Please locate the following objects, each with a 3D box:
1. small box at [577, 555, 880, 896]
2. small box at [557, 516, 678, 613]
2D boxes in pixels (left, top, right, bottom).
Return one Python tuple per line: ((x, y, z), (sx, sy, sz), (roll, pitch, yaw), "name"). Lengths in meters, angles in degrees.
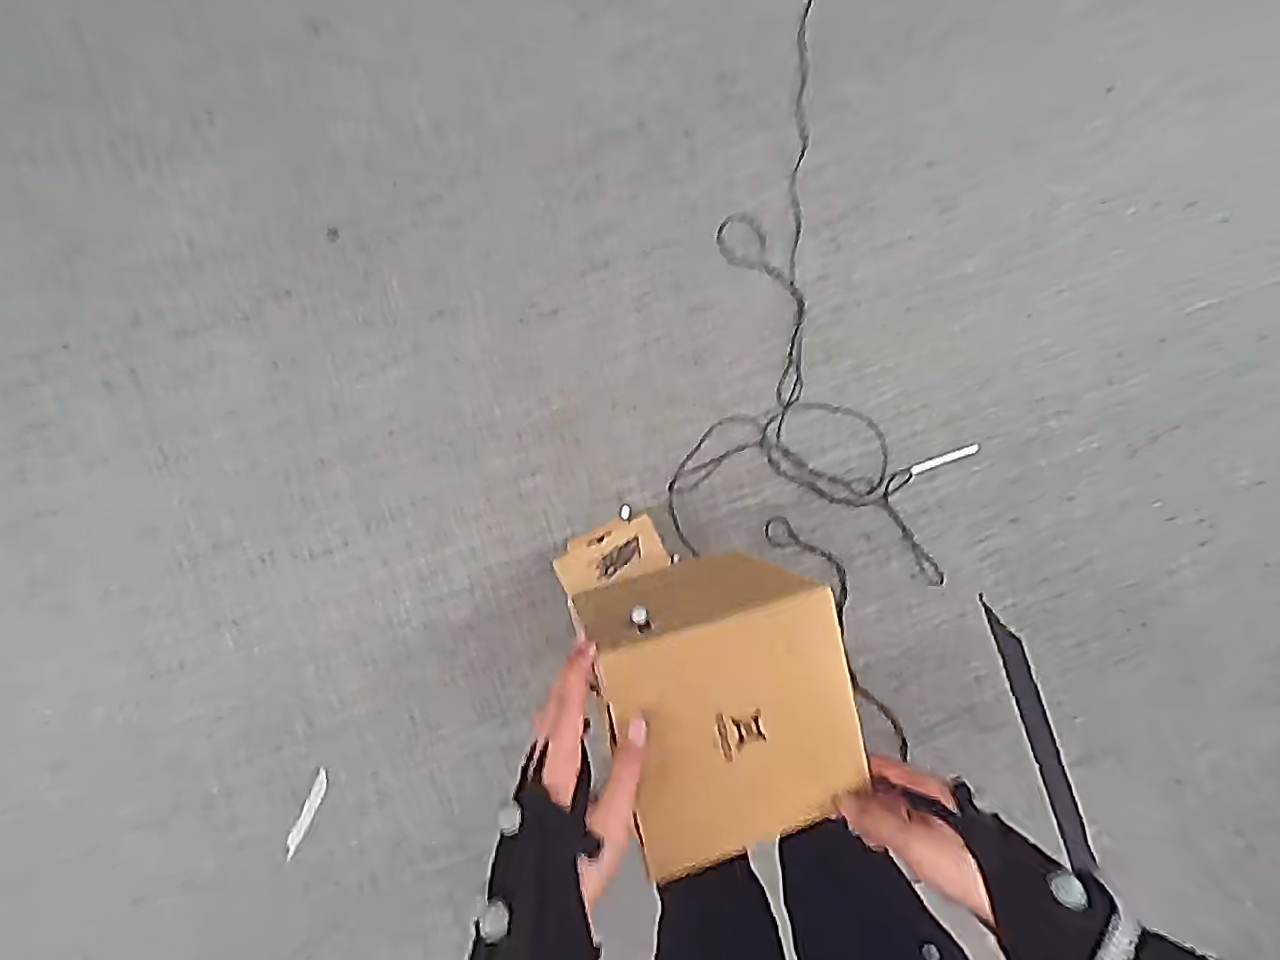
((0.057, 0.171, 0.442), (0.179, 0.176, 0.168), (-15, 96, -11), "small box")
((-0.023, 0.170, 0.912), (0.168, 0.176, 0.179), (-27, 91, -1), "small box")
